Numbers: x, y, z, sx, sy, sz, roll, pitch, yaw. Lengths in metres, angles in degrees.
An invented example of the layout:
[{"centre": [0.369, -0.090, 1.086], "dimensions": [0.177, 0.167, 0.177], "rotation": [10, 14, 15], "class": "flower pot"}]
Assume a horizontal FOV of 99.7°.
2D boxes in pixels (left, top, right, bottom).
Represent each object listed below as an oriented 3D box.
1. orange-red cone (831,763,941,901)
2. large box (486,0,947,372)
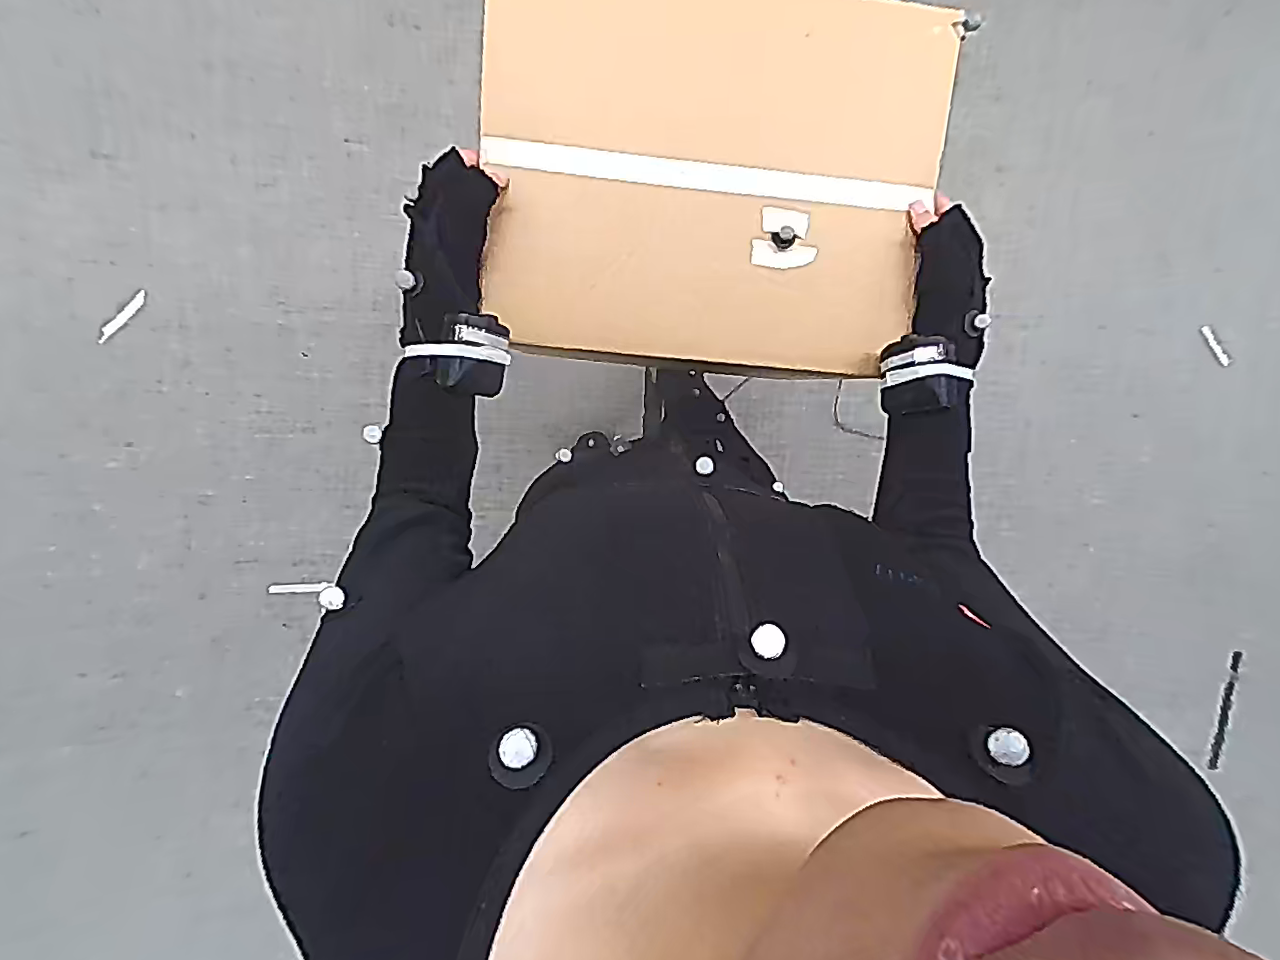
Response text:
[{"centre": [0.690, 0.975, 1.473], "dimensions": [0.198, 0.360, 0.199], "rotation": [-1, 96, -5], "class": "orange-red cone"}, {"centre": [0.052, -0.299, 0.630], "dimensions": [0.408, 0.320, 0.320], "rotation": [4, 100, -5], "class": "large box"}]
